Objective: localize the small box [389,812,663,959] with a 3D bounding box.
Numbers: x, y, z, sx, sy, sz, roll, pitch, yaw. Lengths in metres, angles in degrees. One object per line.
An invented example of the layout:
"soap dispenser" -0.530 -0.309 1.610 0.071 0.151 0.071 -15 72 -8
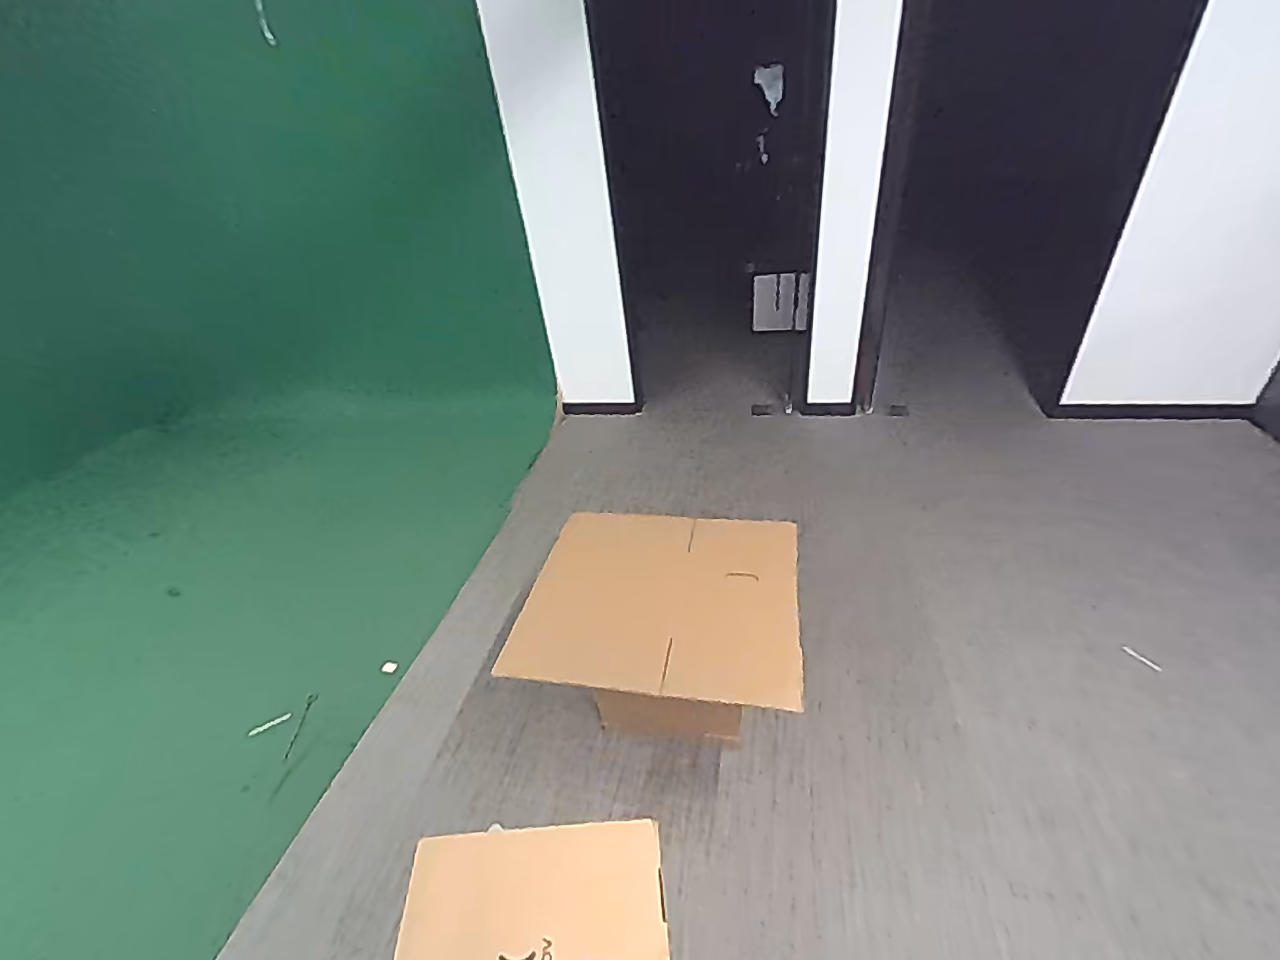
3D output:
"small box" -0.070 0.364 0.390 0.179 0.176 0.168 -3 41 -1
